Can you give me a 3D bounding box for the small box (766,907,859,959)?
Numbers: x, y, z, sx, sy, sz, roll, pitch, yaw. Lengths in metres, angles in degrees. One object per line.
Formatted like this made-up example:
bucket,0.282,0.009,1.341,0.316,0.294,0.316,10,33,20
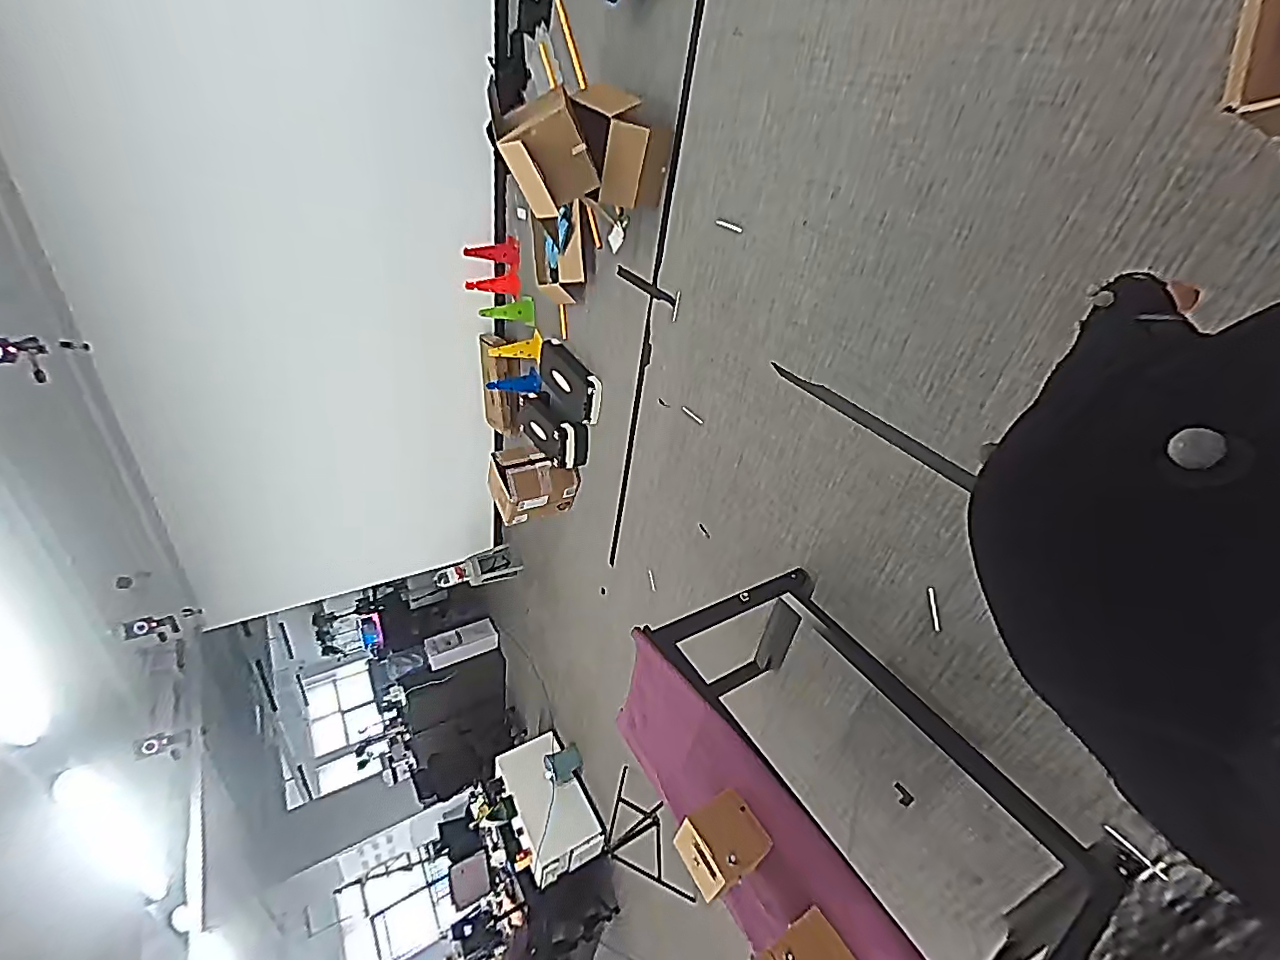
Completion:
small box,0.395,1.130,1.223,0.179,0.176,0.168,43,136,44
